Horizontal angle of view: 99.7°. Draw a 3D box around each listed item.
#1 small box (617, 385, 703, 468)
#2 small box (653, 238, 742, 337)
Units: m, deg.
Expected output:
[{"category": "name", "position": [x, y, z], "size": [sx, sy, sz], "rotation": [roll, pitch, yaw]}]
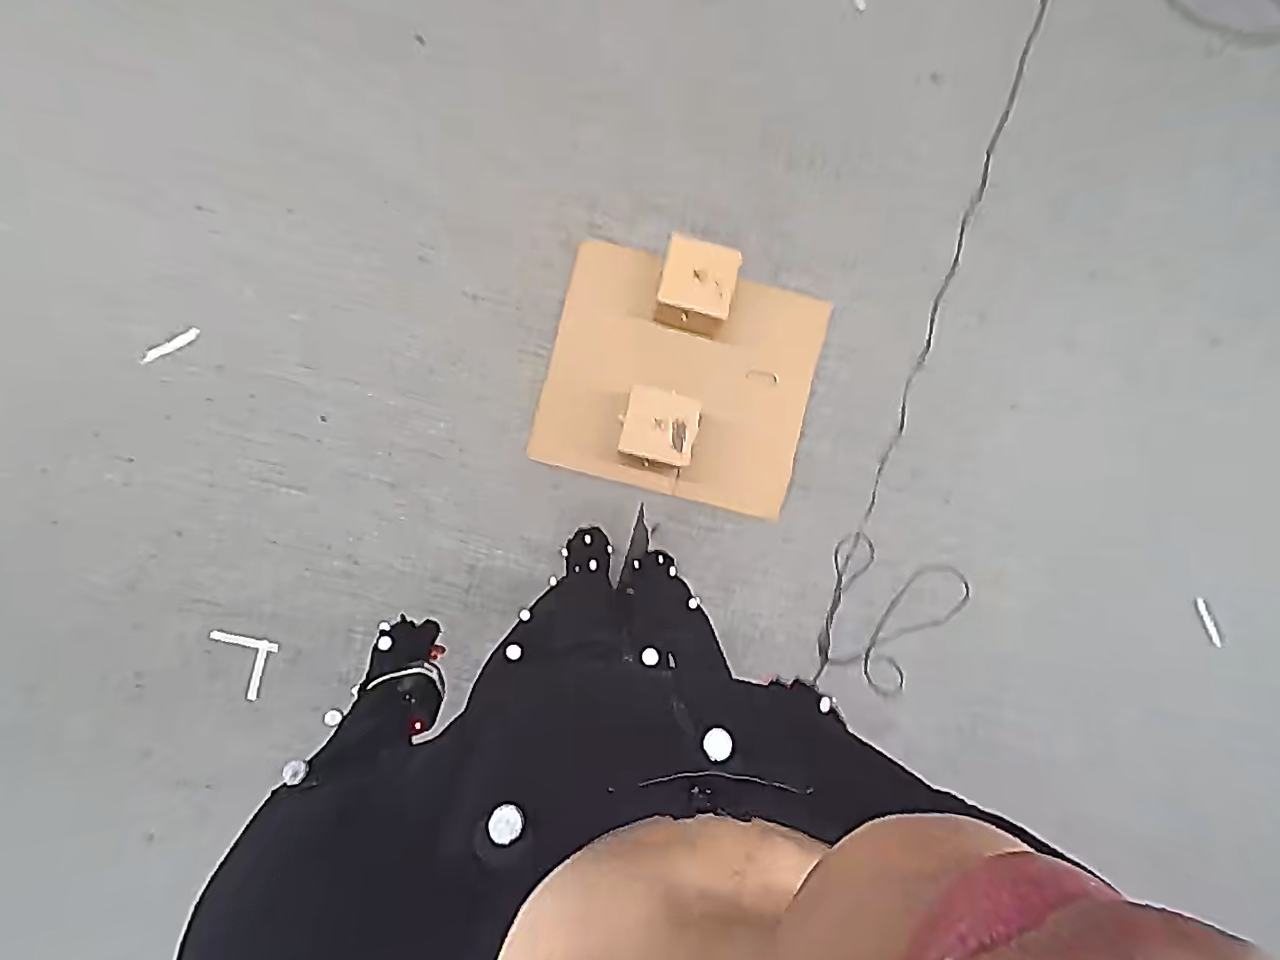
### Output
[{"category": "small box", "position": [0.045, -0.129, 1.369], "size": [0.179, 0.176, 0.168], "rotation": [14, 89, -3]}, {"category": "small box", "position": [0.137, -0.480, 1.375], "size": [0.179, 0.176, 0.168], "rotation": [15, 89, -4]}]
